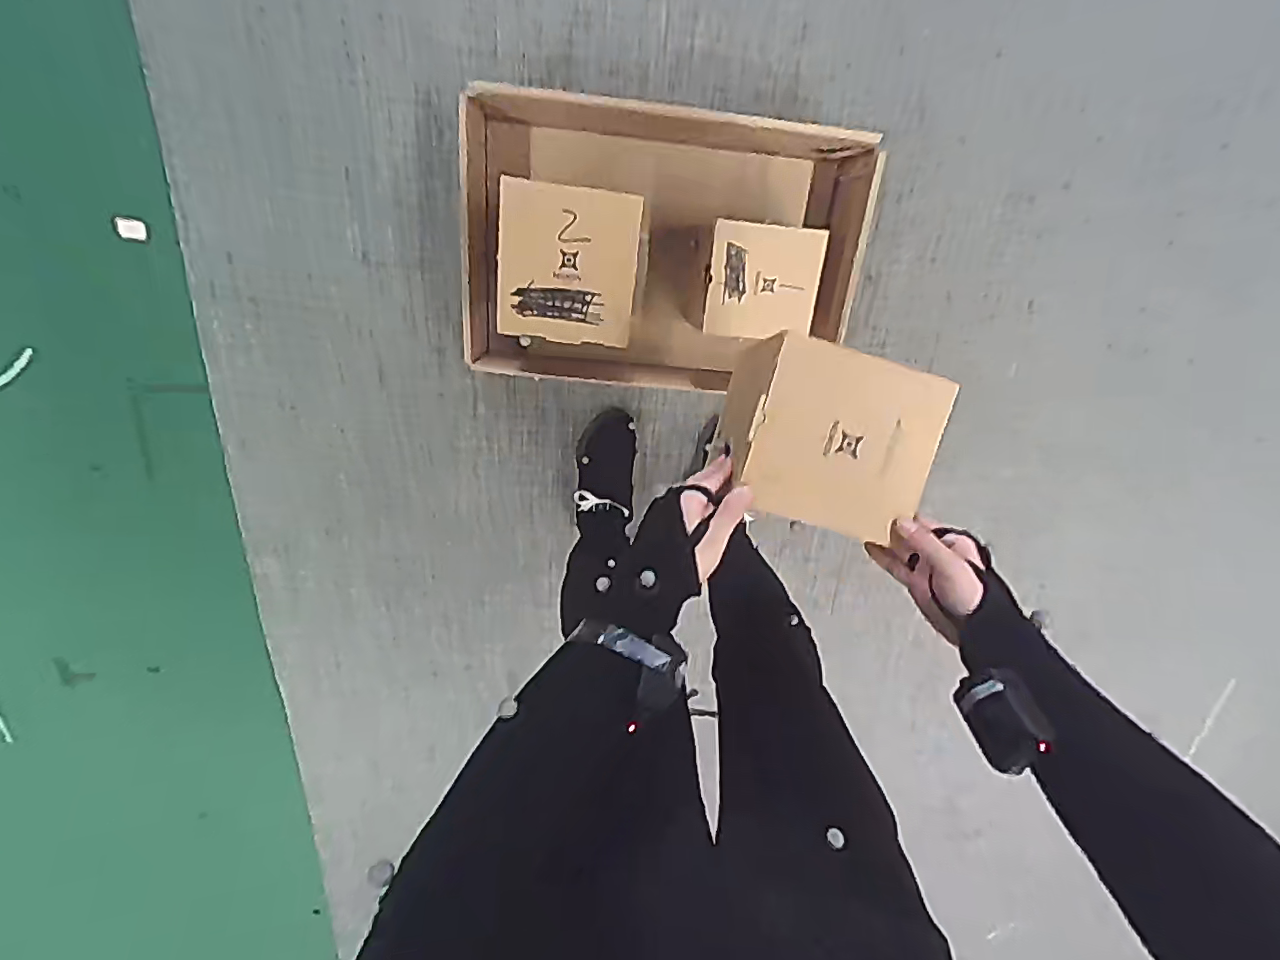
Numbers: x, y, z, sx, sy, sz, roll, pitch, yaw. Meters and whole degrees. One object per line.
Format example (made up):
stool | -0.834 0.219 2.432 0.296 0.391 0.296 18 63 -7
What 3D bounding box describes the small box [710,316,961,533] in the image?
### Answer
small box | 0.186 -0.058 0.577 0.179 0.176 0.168 15 98 -6
